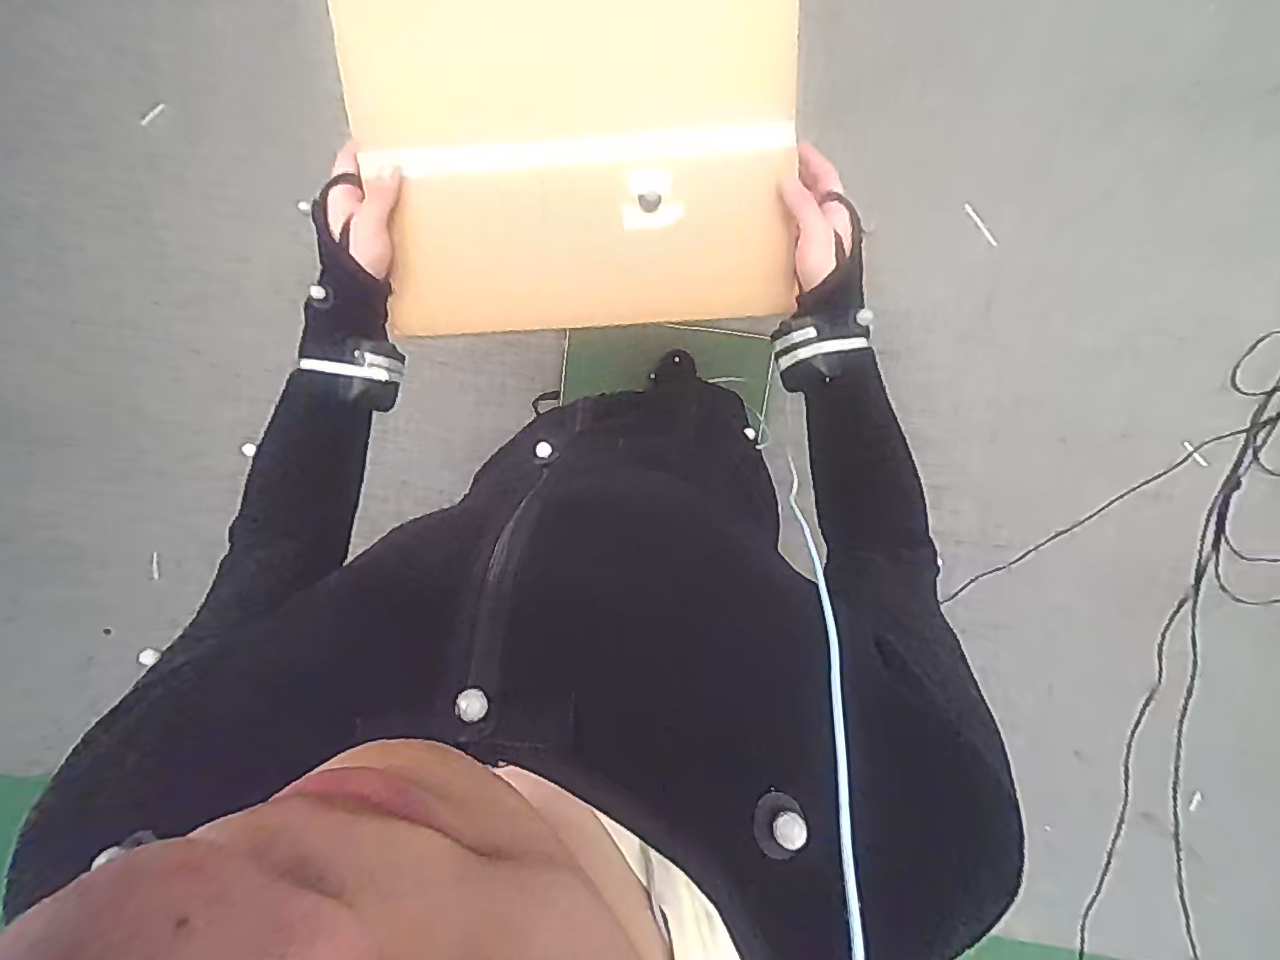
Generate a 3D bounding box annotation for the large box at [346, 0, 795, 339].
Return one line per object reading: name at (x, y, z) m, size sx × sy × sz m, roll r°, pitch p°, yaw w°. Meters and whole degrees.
large box at (-0.056, -0.350, 0.656) m, size 0.408 × 0.320 × 0.320 m, roll -3°, pitch 108°, yaw 1°
